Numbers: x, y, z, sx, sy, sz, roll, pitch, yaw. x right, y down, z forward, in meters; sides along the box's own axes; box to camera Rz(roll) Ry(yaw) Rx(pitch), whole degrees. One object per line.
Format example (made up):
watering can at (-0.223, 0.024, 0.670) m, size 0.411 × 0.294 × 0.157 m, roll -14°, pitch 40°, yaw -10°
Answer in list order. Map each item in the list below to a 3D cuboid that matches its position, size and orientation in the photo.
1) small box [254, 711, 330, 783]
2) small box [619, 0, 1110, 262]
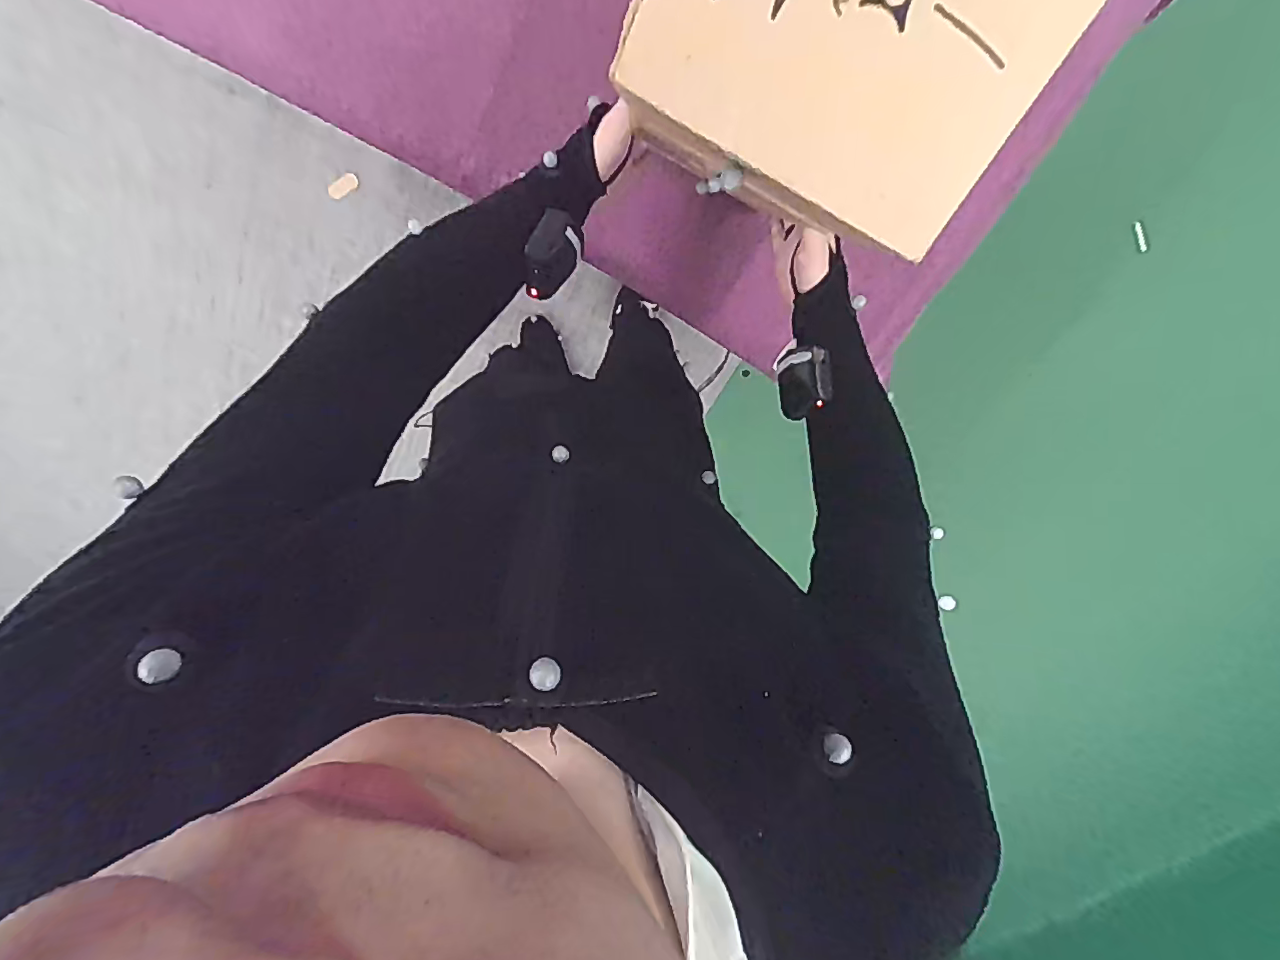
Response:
small box at (-1.354, 1.035, 2.110) m, size 0.179 × 0.176 × 0.168 m, roll 28°, pitch 117°, yaw -12°
small box at (0.106, -0.246, 0.295) m, size 0.179 × 0.176 × 0.168 m, roll 25°, pitch 119°, yaw -11°
